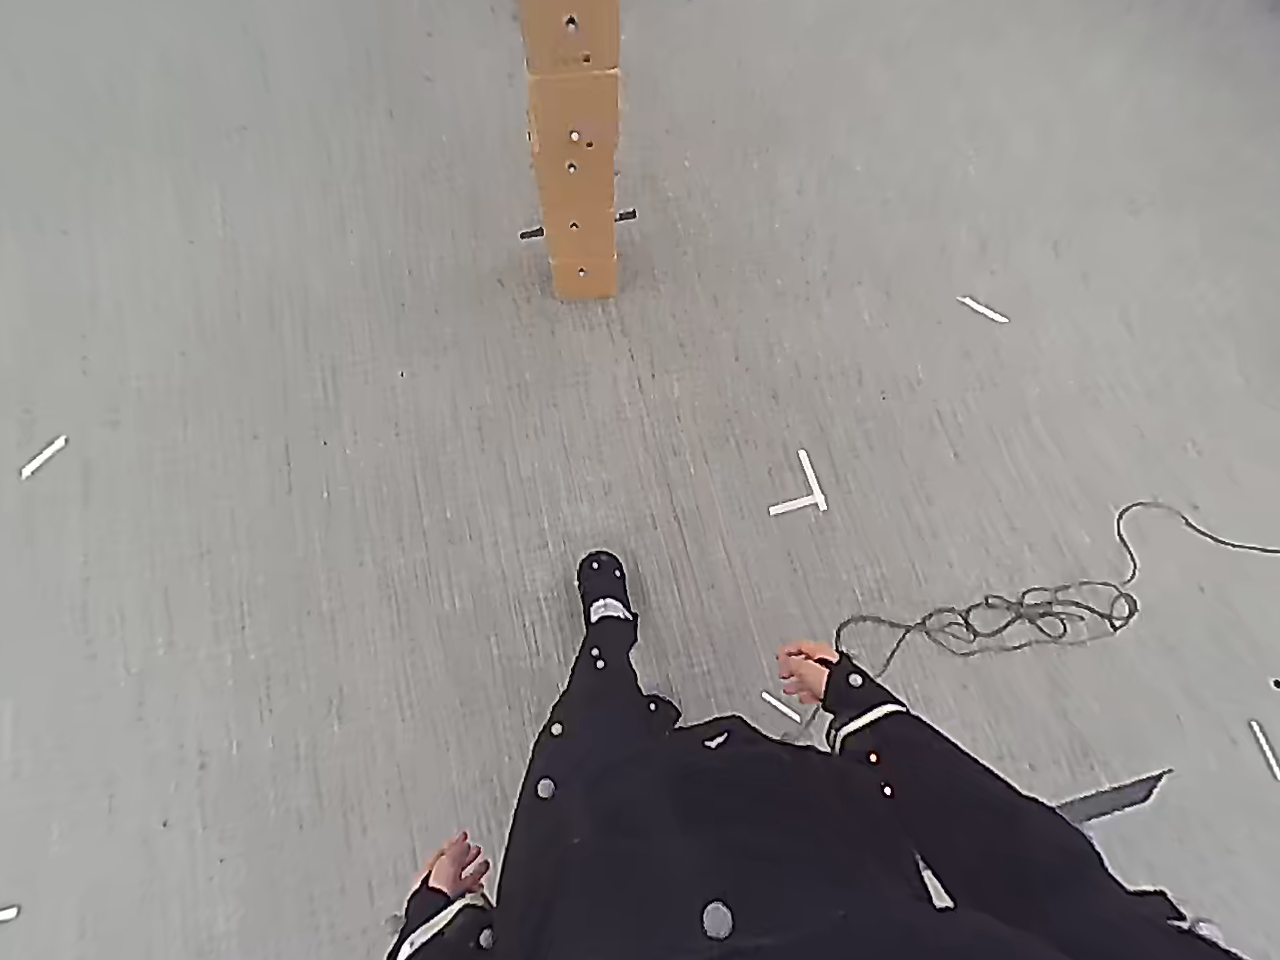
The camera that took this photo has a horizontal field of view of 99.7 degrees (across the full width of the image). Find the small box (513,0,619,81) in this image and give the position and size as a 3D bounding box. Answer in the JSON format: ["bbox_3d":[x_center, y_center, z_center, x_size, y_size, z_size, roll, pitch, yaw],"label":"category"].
[{"bbox_3d":[-0.127,-0.811,0.909,0.168,0.176,0.179,-8,76,-4],"label":"small box"}]

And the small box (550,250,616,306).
[{"bbox_3d":[-0.163,-0.613,1.532,0.179,0.176,0.168,-6,75,-4],"label":"small box"}]

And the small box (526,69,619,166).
[{"bbox_3d":[-0.132,-0.759,1.065,0.168,0.176,0.179,-6,76,-3],"label":"small box"}]

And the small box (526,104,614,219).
[{"bbox_3d":[-0.153,-0.716,1.223,0.179,0.176,0.168,-6,76,-5],"label":"small box"}]

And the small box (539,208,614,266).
[{"bbox_3d":[-0.158,-0.665,1.376,0.179,0.176,0.168,-3,75,-3],"label":"small box"}]
